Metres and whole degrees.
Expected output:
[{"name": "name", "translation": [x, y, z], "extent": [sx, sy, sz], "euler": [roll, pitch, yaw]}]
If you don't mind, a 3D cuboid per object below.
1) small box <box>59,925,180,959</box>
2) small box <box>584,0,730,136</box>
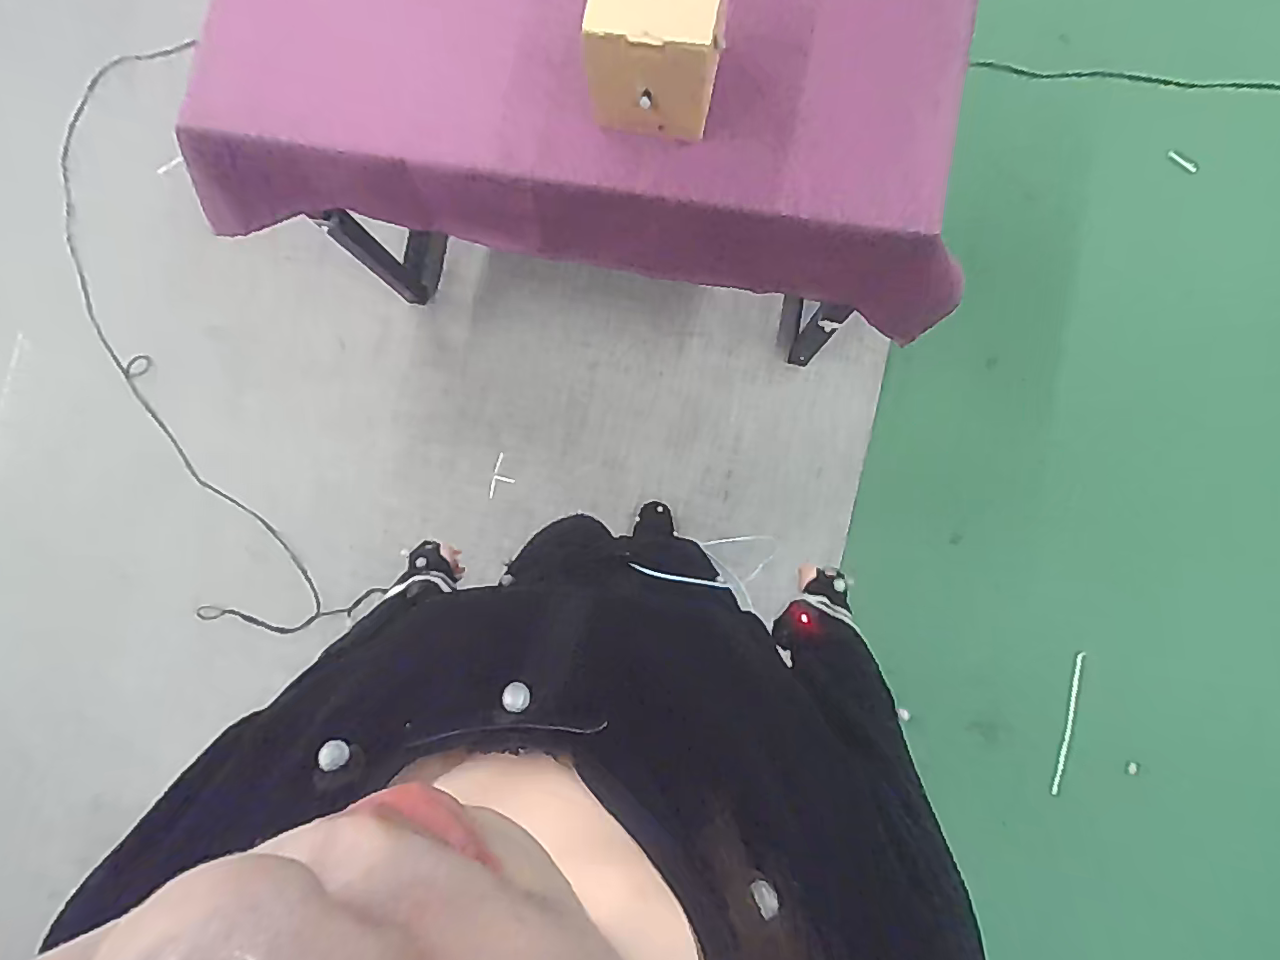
[{"name": "small box", "translation": [-1.109, 1.063, 1.105], "extent": [0.179, 0.176, 0.168], "euler": [11, 87, 2]}, {"name": "small box", "translation": [0.031, -0.621, 0.749], "extent": [0.168, 0.176, 0.179], "euler": [12, 87, 3]}]
